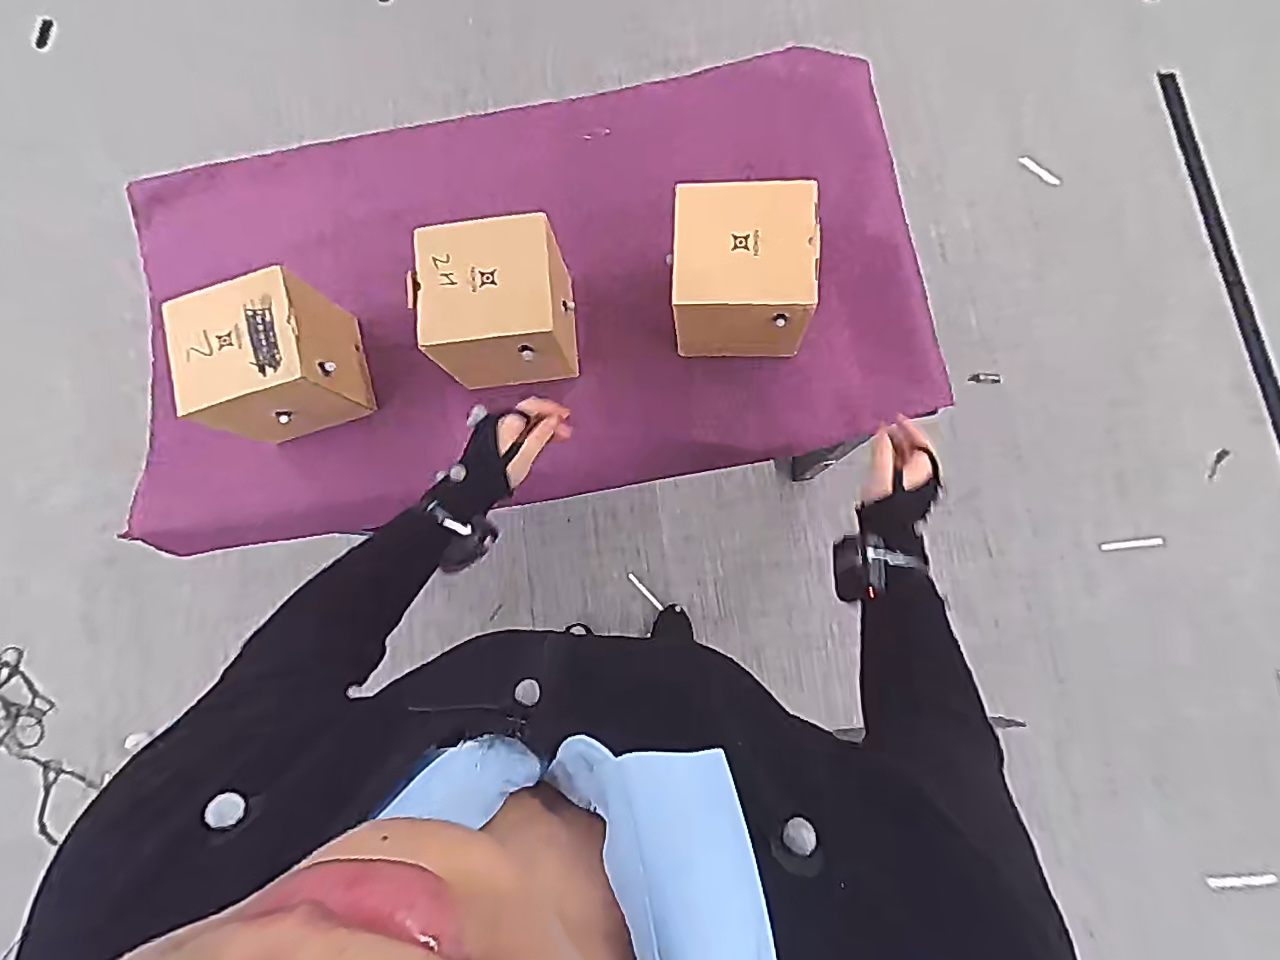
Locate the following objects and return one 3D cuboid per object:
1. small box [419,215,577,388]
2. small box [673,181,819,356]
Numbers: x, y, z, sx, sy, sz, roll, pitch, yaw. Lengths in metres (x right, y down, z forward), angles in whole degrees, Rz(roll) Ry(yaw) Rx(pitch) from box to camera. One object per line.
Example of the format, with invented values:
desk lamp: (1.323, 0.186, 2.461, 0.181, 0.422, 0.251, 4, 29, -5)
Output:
small box: (-0.189, -0.240, 0.763, 0.179, 0.176, 0.168, -6, 80, 4)
small box: (0.139, -0.278, 0.740, 0.179, 0.176, 0.168, 1, 81, 5)
